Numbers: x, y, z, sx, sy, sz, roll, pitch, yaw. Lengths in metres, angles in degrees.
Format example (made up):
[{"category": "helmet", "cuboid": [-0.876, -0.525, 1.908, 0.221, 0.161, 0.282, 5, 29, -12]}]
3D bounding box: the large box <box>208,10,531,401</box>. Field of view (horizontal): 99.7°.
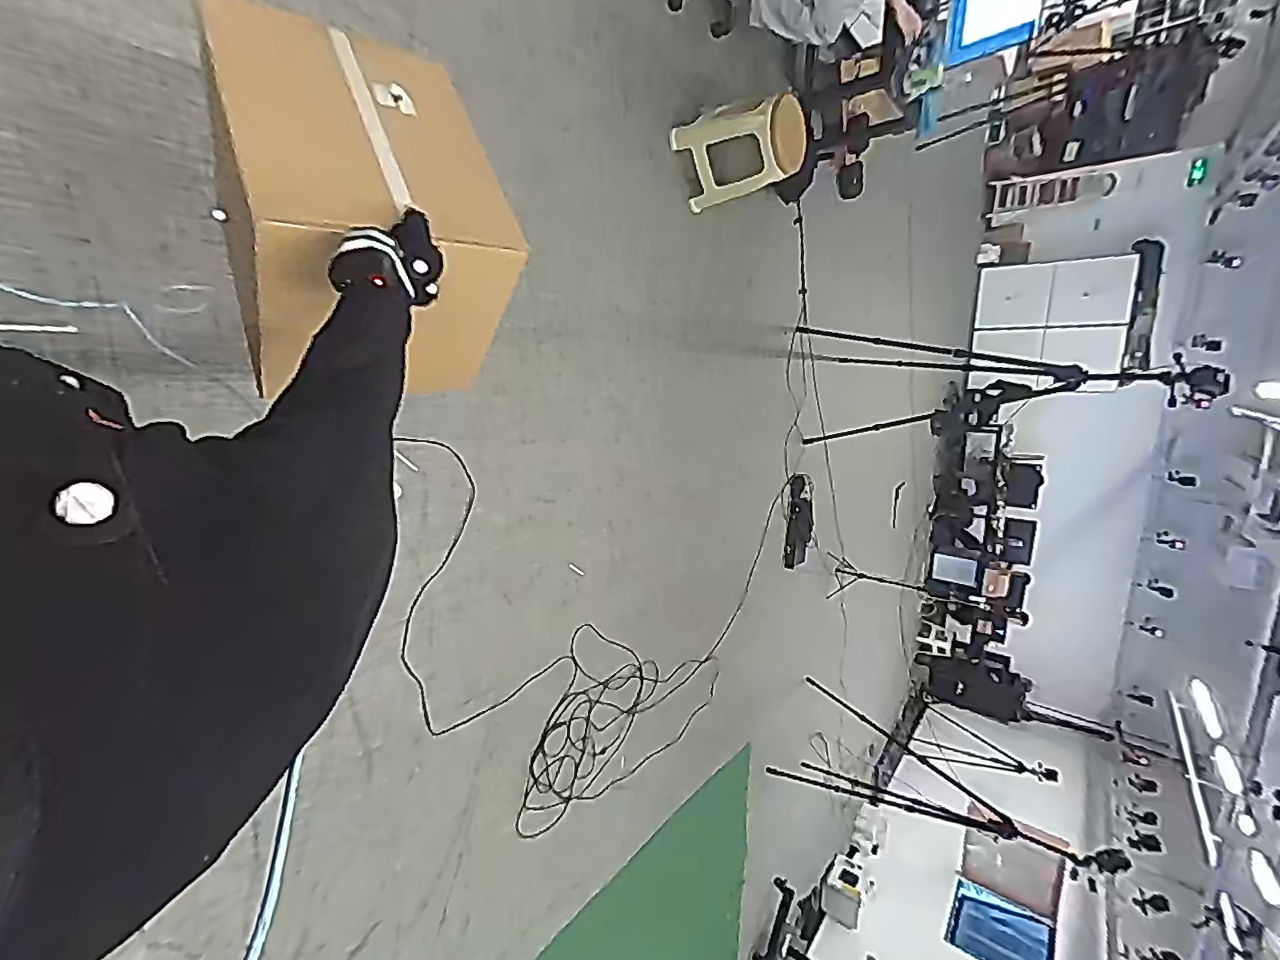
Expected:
[{"category": "large box", "cuboid": [-0.418, -0.376, 0.823, 0.320, 0.320, 0.408, -10, 66, -39]}]
